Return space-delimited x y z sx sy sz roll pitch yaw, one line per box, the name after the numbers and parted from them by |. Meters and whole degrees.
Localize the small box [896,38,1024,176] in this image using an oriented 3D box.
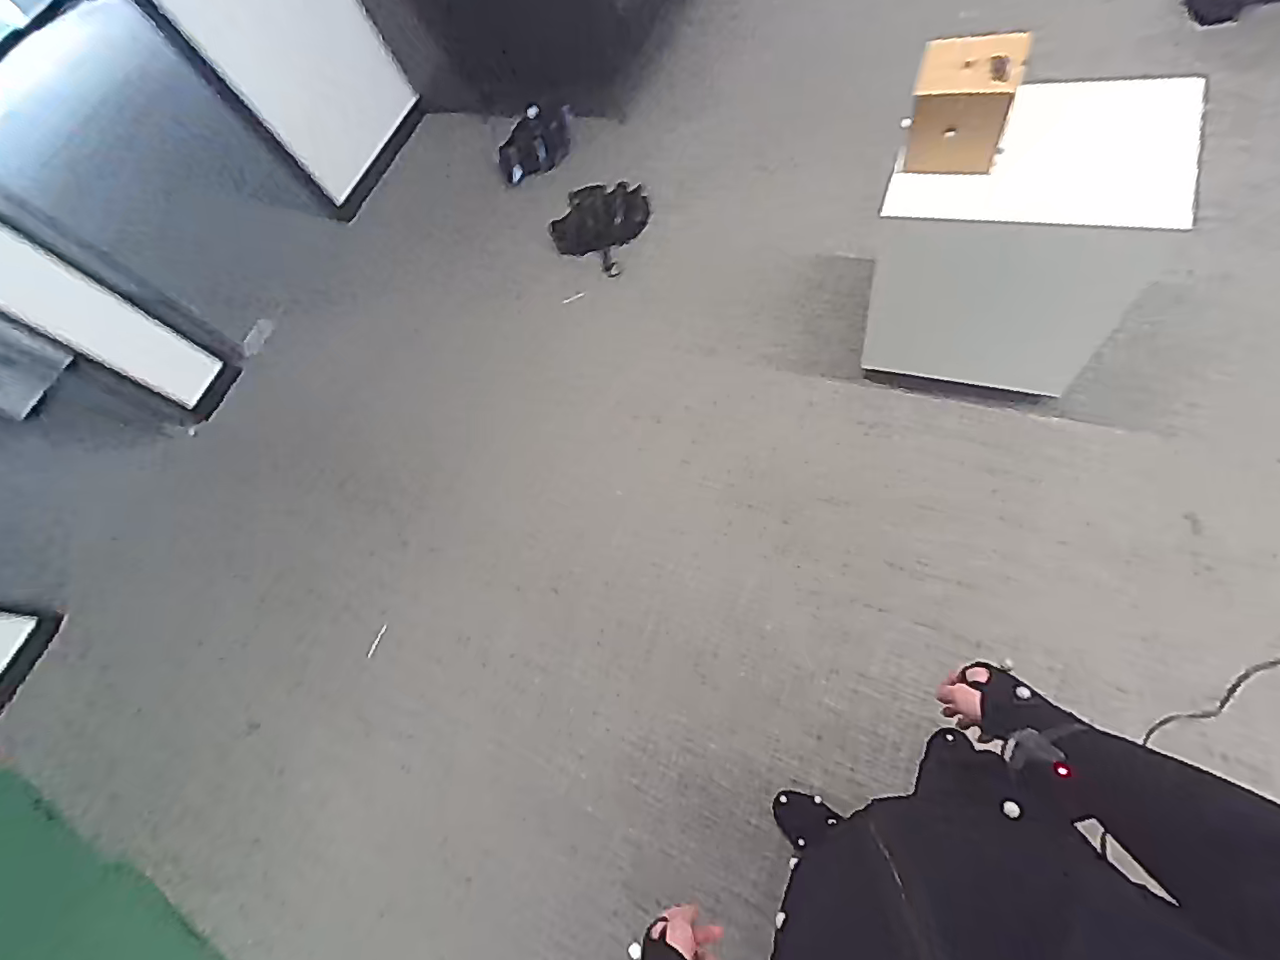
0.637 -0.743 1.093 0.179 0.176 0.168 14 71 23 | small box
